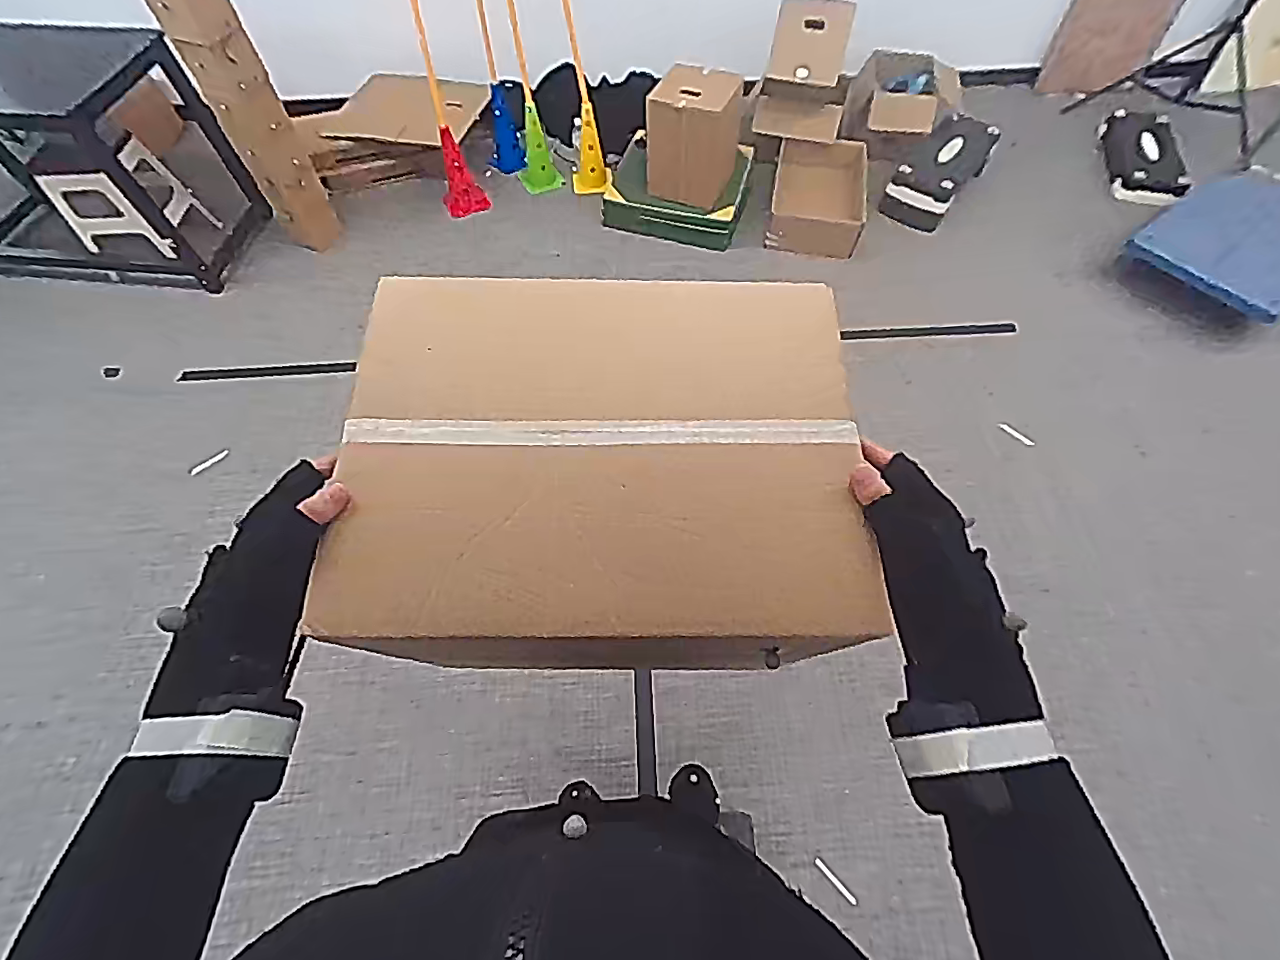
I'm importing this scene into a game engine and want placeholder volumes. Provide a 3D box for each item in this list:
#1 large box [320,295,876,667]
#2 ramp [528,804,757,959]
[{"bbox_3d":[-0.031,0.030,0.575,0.408,0.320,0.320,1,67,-2],"label":"large box"},{"bbox_3d":[0.018,1.227,1.077,0.509,0.206,0.991,-3,61,-4],"label":"ramp"}]
